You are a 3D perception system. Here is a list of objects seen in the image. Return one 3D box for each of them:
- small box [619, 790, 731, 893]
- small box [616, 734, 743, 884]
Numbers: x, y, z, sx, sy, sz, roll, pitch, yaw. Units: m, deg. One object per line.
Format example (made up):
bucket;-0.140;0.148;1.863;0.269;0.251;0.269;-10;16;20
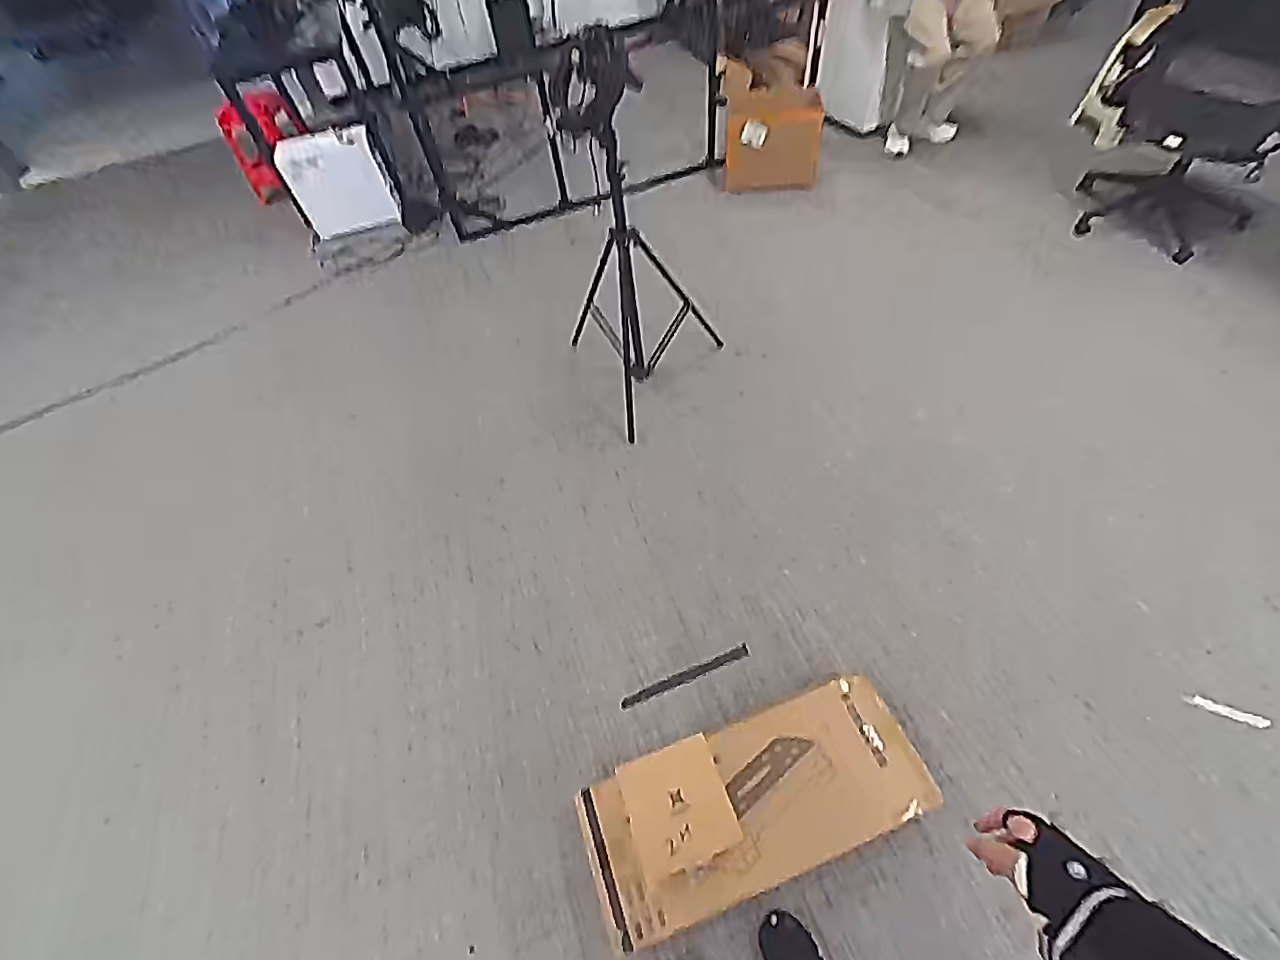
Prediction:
small box;0.068;0.694;1.083;0.168;0.176;0.179;-21;55;-8
small box;0.068;0.585;0.957;0.168;0.176;0.179;-19;54;-7
